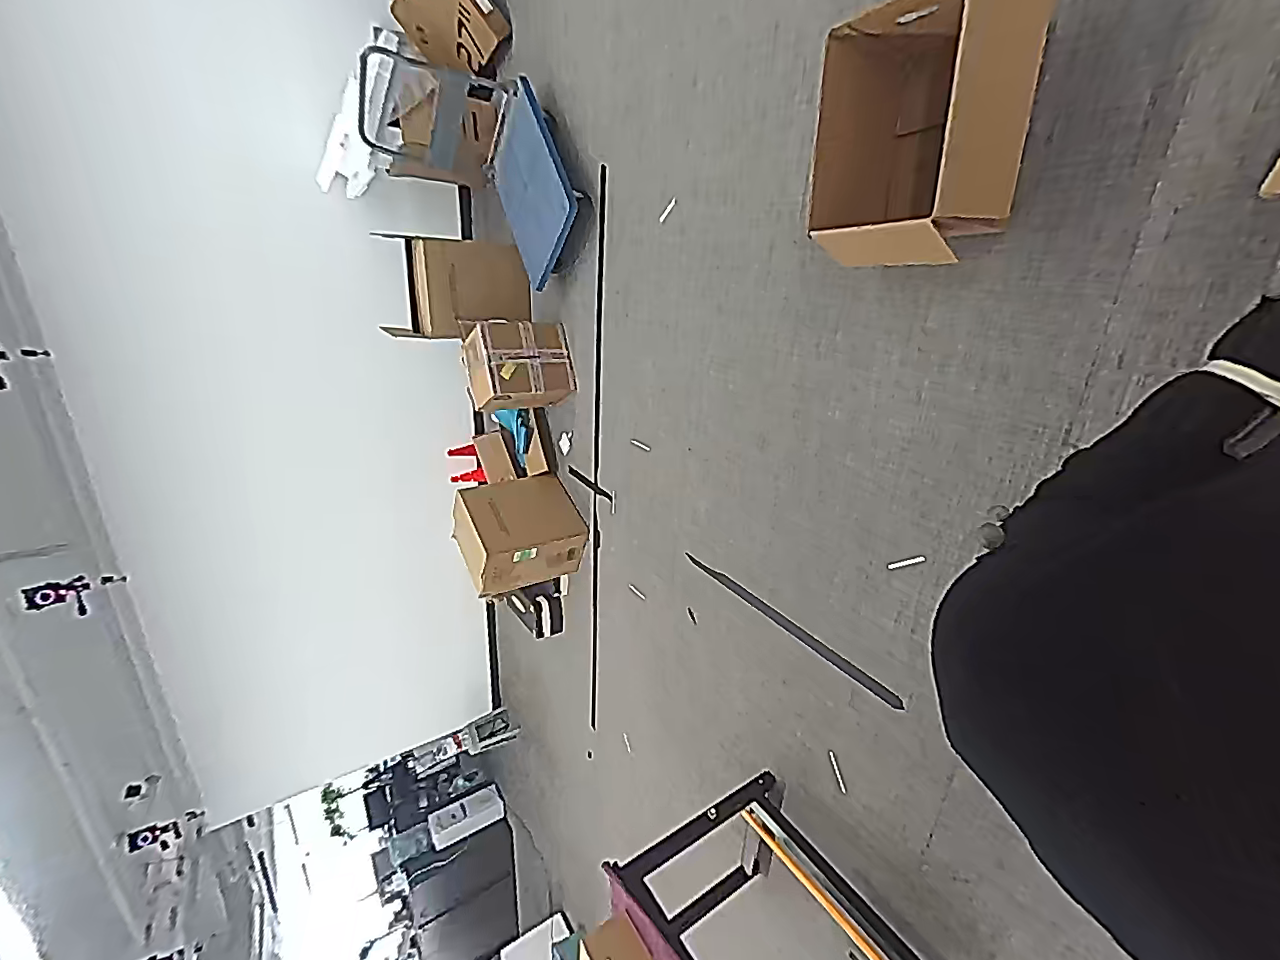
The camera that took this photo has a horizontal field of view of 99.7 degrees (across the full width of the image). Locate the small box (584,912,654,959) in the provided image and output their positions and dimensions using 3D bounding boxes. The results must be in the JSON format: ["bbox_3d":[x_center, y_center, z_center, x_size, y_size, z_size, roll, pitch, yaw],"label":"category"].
[{"bbox_3d":[-0.063,1.535,1.706,0.179,0.176,0.168,34,128,49],"label":"small box"}]
